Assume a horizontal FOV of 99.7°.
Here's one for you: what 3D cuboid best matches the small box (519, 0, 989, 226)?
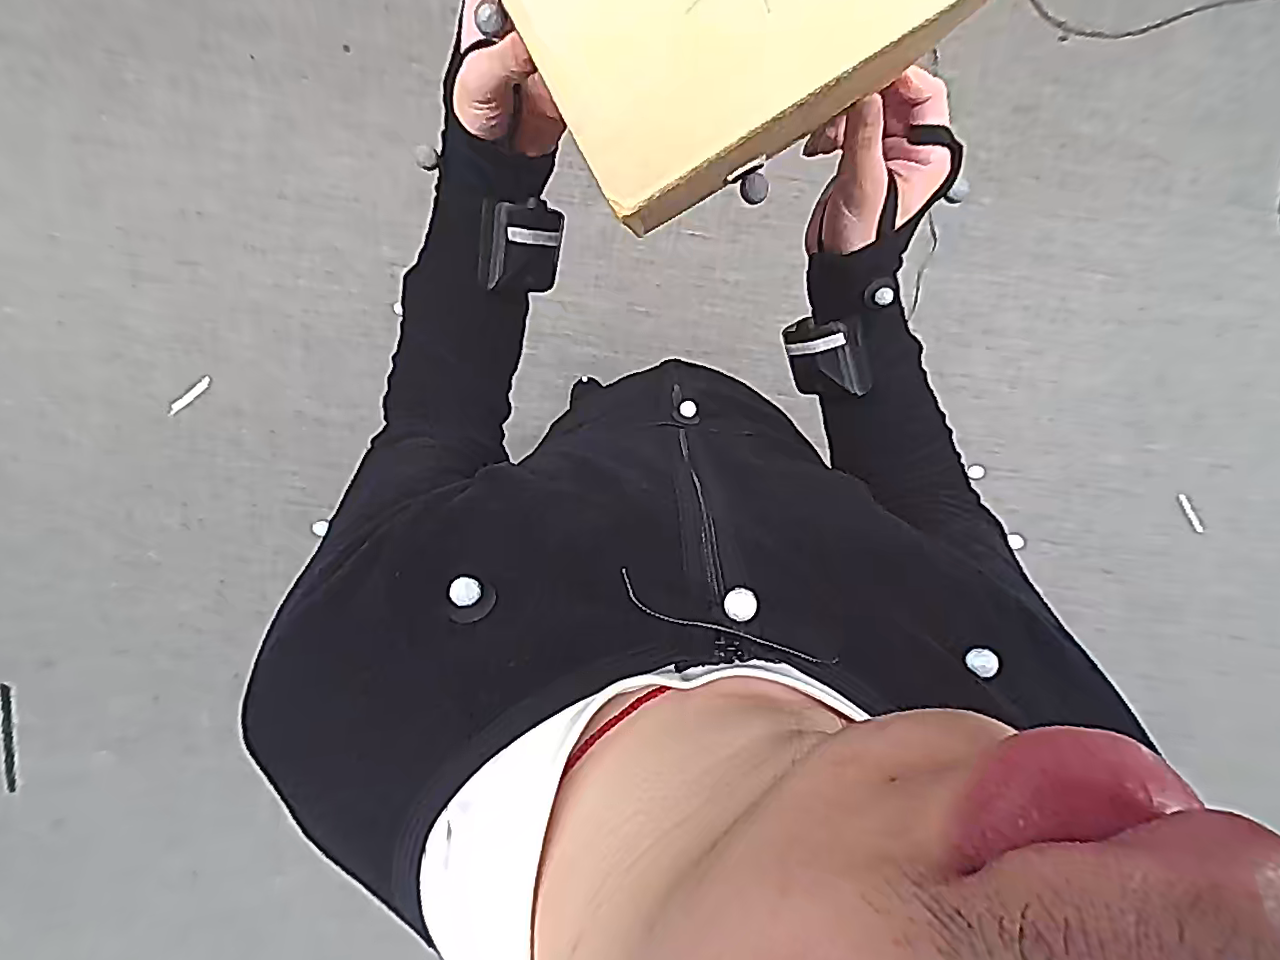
[{"bbox_3d":[0.028,-0.239,0.242,0.168,0.176,0.179,-27,108,13],"label":"small box"}]
